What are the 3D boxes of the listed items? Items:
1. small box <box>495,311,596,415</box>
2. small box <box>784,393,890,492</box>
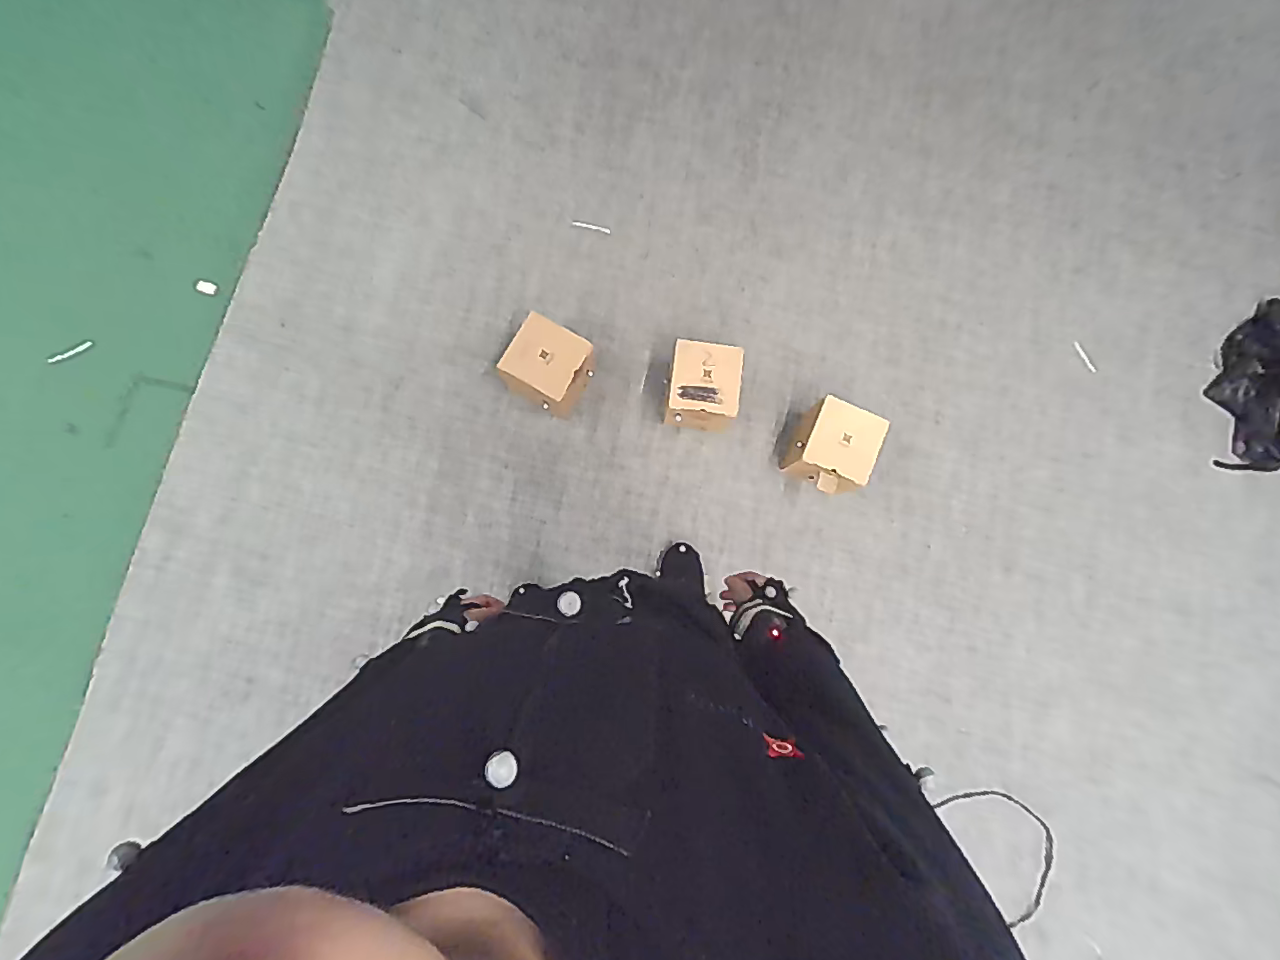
[{"bbox_3d":[-0.222,-0.278,1.337,0.179,0.176,0.168,28,81,6],"label":"small box"},{"bbox_3d":[0.479,-0.086,1.341,0.168,0.176,0.179,24,82,1],"label":"small box"}]
